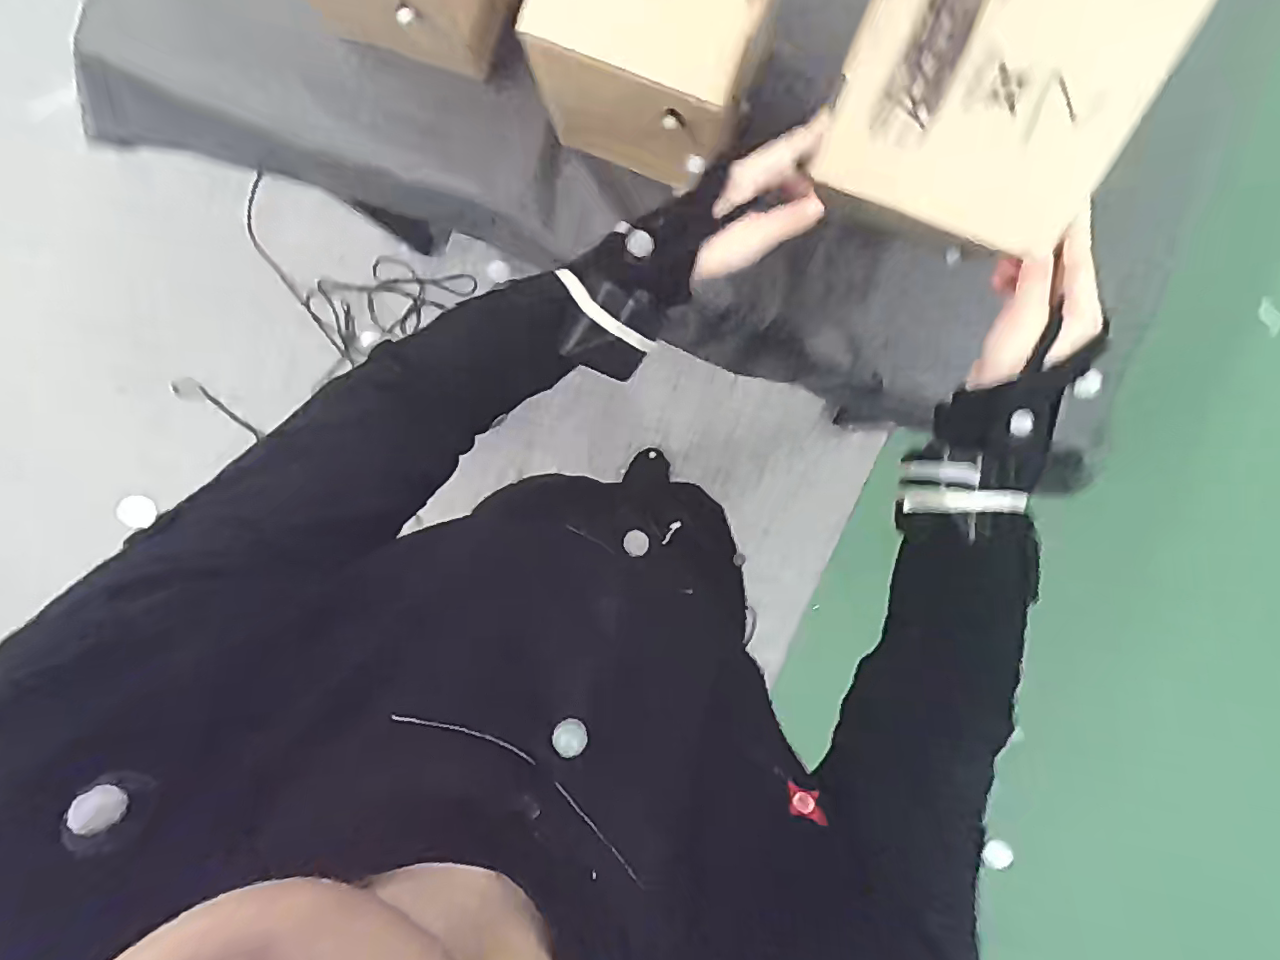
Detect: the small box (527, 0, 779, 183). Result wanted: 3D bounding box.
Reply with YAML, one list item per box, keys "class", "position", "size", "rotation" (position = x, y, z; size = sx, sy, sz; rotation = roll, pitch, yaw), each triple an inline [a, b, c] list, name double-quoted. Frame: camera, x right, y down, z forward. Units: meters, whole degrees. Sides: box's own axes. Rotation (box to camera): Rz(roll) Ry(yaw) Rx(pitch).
- class: "small box"
  position: [0.021, -0.411, 0.500]
  size: [0.179, 0.176, 0.168]
  rotation: [21, 96, 0]

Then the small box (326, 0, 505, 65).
- class: "small box"
  position: [-0.219, -0.535, 0.498]
  size: [0.179, 0.176, 0.168]
  rotation: [20, 94, 2]
